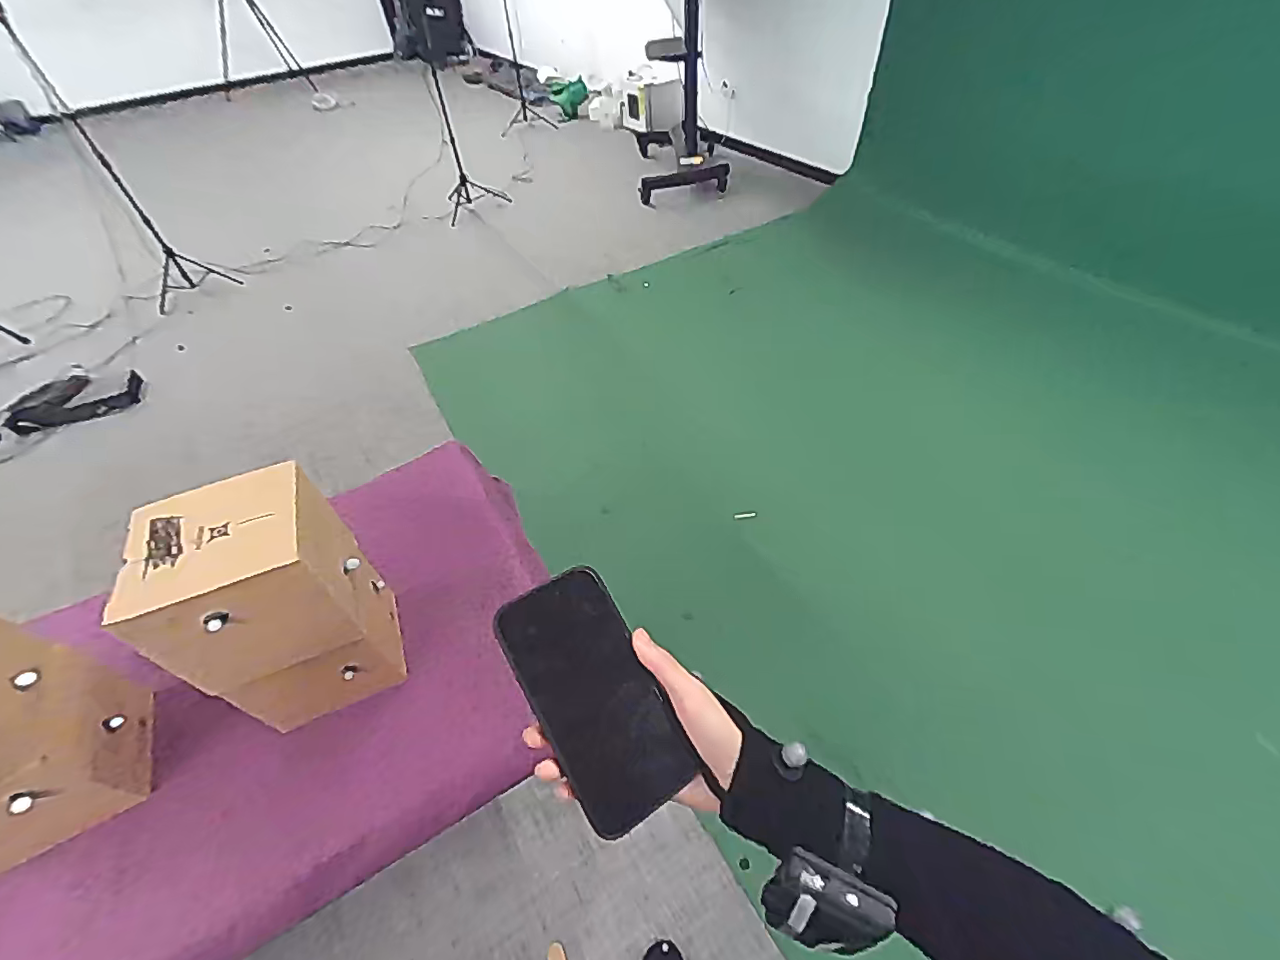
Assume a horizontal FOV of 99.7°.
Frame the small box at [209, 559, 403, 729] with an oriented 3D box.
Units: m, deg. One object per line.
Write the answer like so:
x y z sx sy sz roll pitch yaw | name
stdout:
-0.452 0.216 0.762 0.179 0.176 0.168 -21 49 -13 | small box

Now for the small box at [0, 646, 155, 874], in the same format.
-0.753 0.346 0.669 0.179 0.176 0.168 -25 50 -17 | small box

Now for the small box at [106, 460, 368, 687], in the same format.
-0.449 0.112 0.635 0.179 0.176 0.168 -21 49 -14 | small box
